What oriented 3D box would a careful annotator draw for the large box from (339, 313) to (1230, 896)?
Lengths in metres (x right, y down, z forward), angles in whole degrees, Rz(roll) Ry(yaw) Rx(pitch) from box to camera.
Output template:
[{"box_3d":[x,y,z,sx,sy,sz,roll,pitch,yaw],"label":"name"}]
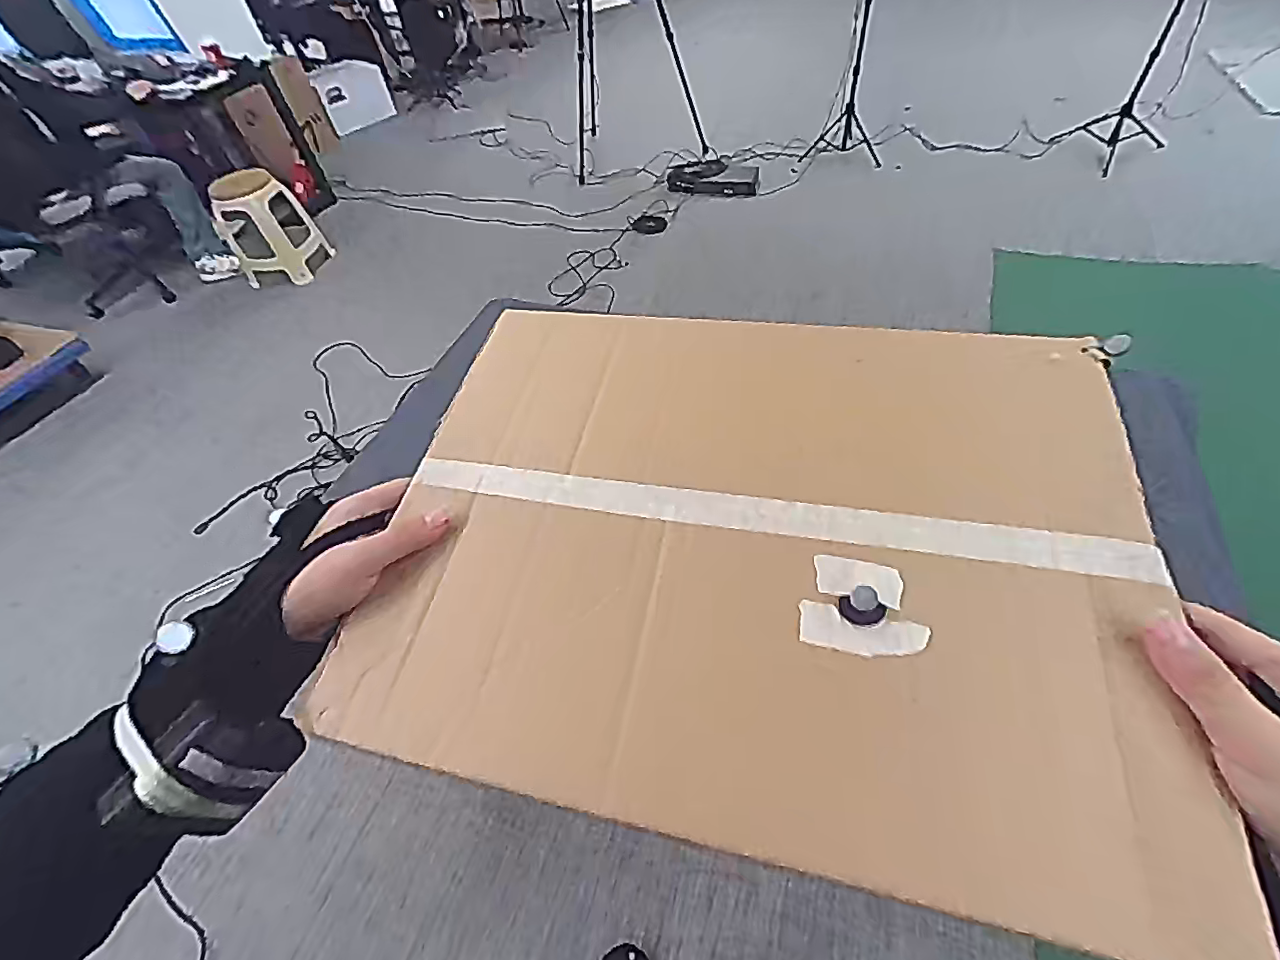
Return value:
[{"box_3d":[0.078,0.091,0.443,0.408,0.320,0.320,7,59,13],"label":"large box"}]
